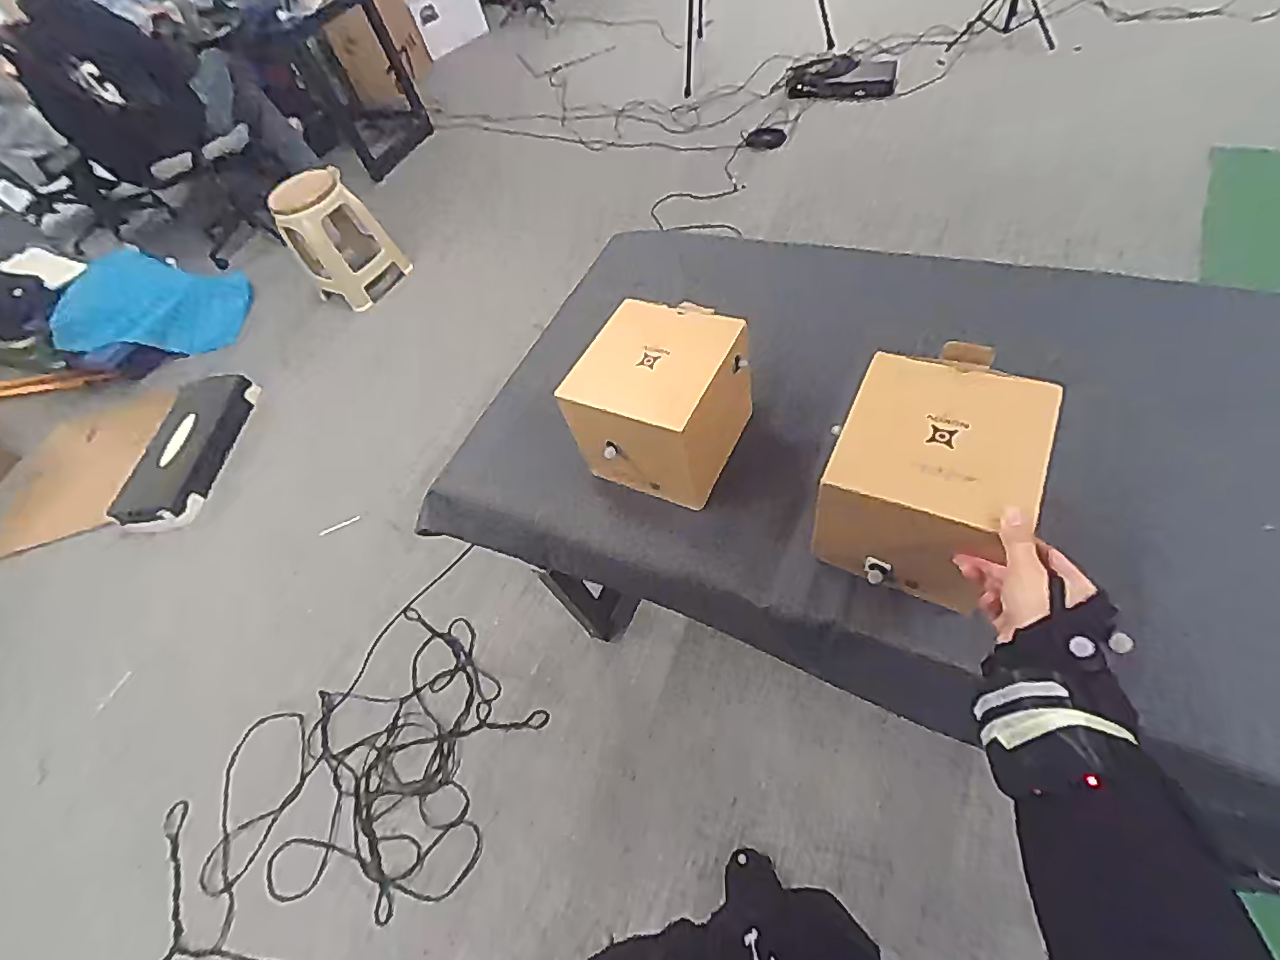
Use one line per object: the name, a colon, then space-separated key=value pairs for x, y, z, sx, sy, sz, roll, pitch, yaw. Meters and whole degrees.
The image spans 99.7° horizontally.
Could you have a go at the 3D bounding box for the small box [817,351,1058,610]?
small box: x=0.286 y=0.002 z=0.551 sx=0.168 sy=0.176 sz=0.179 roll=18 pitch=62 yaw=25

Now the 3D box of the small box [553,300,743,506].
small box: x=0.025 y=-0.093 z=0.678 sx=0.168 sy=0.176 sz=0.179 roll=18 pitch=61 yaw=24
